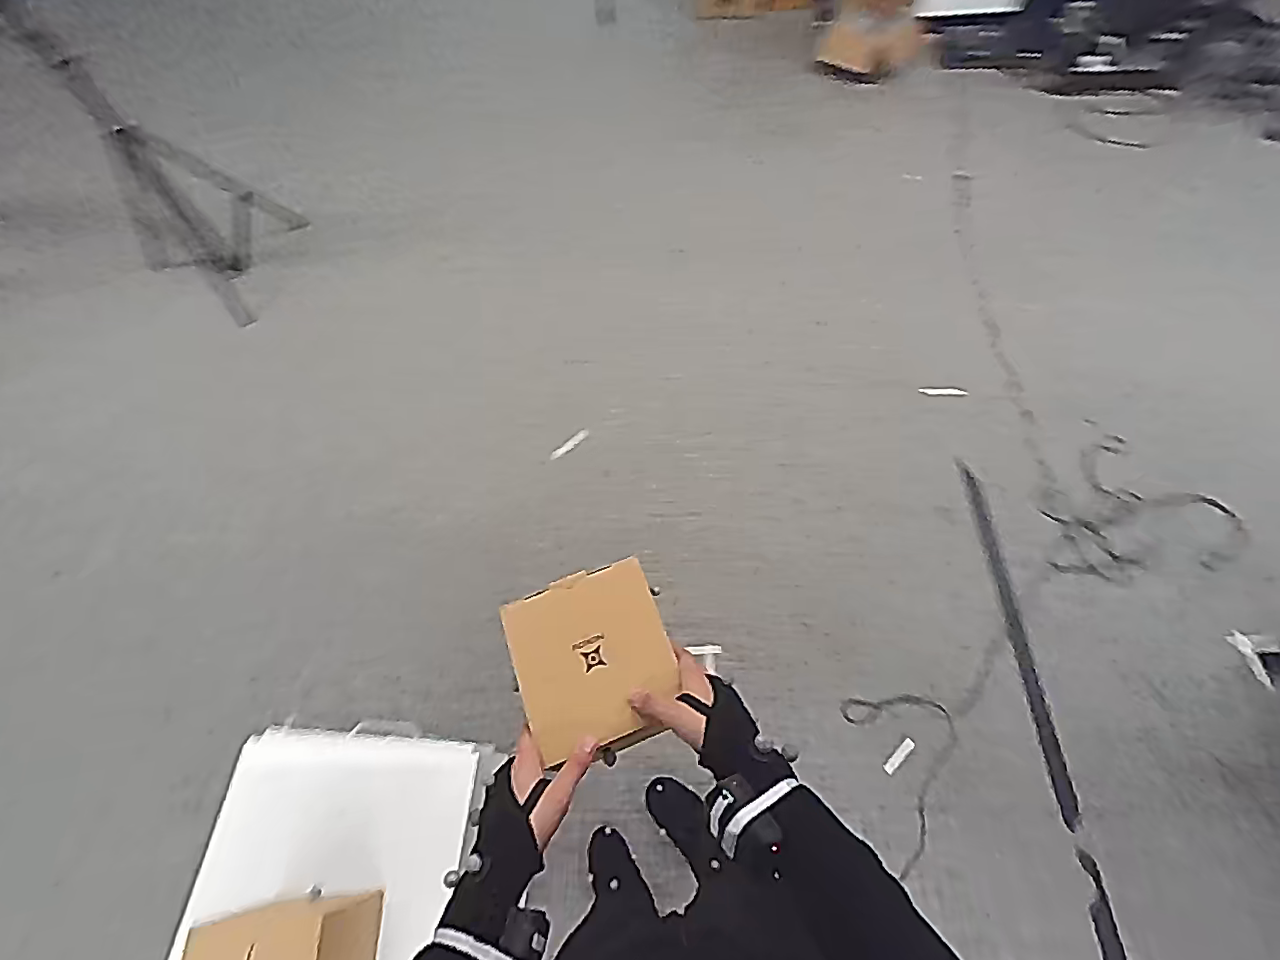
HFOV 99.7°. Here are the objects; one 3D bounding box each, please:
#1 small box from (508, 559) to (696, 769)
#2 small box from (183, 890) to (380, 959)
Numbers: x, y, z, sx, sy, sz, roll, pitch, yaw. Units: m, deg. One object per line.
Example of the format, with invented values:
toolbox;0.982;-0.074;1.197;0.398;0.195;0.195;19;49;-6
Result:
small box;-0.039;0.224;0.645;0.168;0.176;0.179;-19;60;-7
small box;-0.455;0.651;0.688;0.168;0.176;0.179;-5;61;-1
